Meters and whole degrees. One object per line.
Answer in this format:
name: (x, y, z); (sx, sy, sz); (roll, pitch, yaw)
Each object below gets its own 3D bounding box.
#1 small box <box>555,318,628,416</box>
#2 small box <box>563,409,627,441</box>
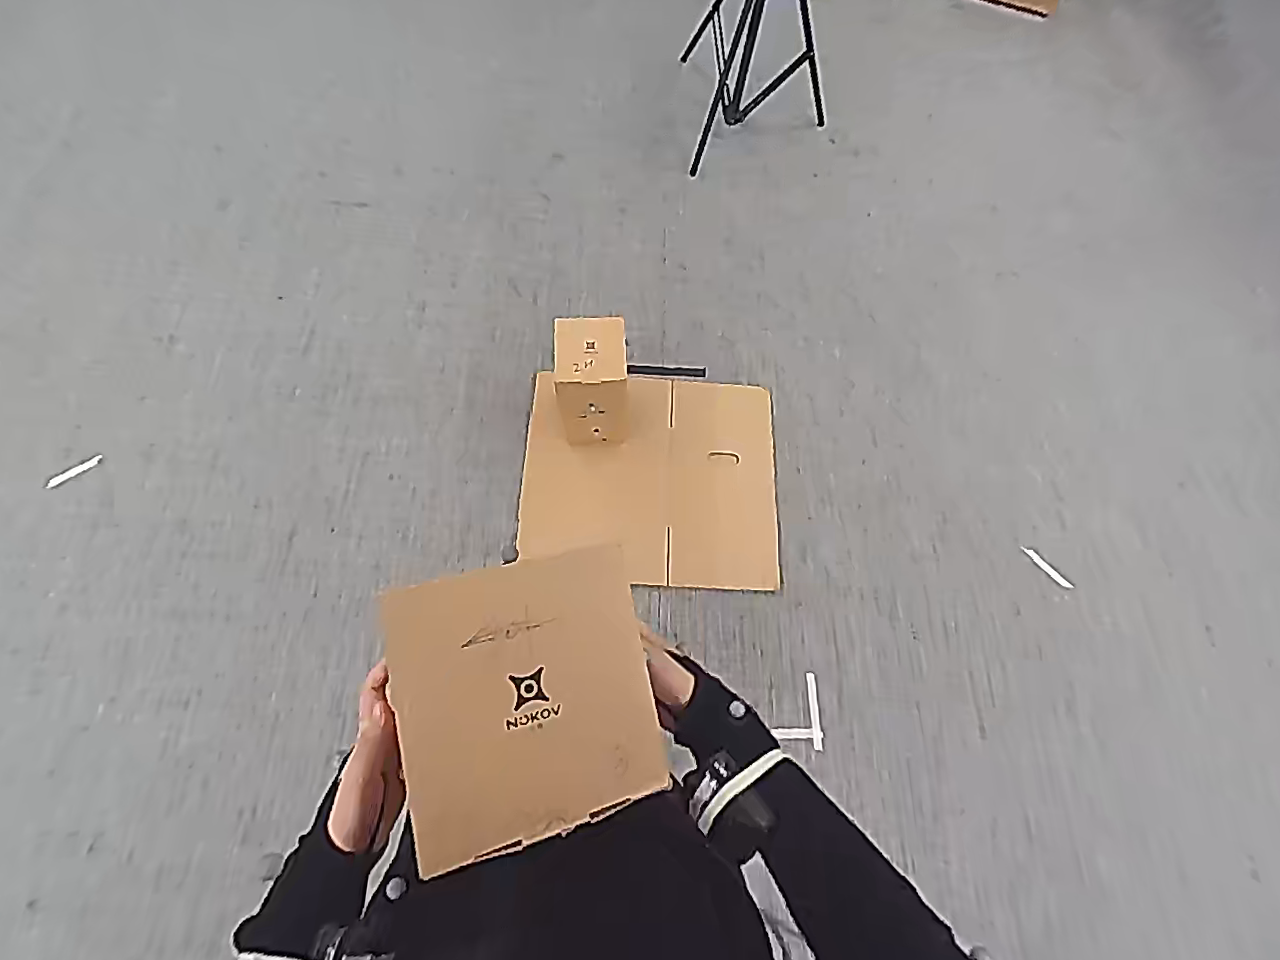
small box: (-0.117, -0.270, 1.314); (0.168, 0.176, 0.179); (-2, 70, -4)
small box: (-0.124, -0.211, 1.468); (0.168, 0.176, 0.179); (-3, 70, -5)
